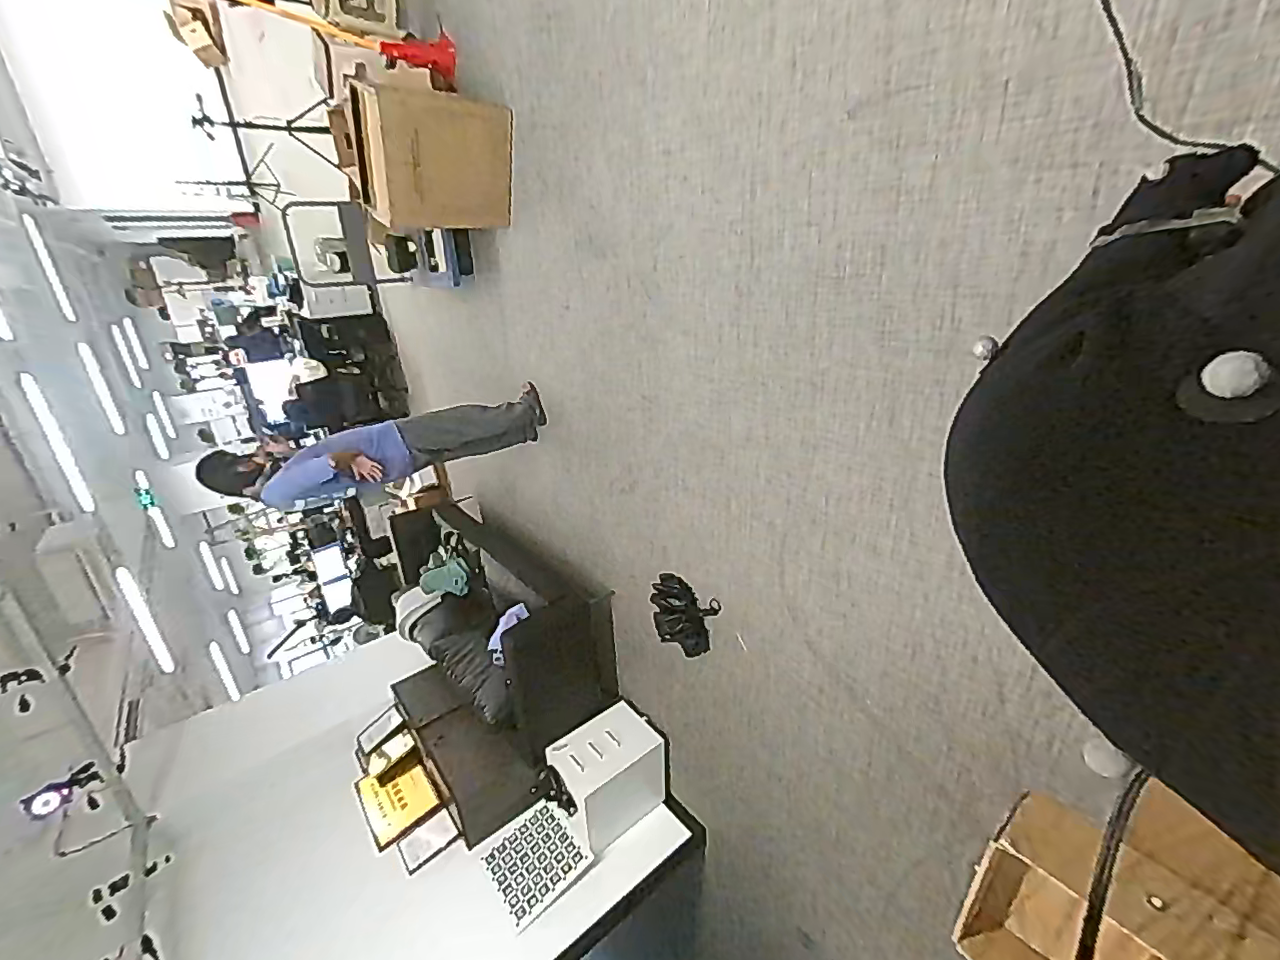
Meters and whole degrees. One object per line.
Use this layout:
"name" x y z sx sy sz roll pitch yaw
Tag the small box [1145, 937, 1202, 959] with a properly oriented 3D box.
"small box" 0.975 0.972 0.950 0.168 0.176 0.179 28 131 48
